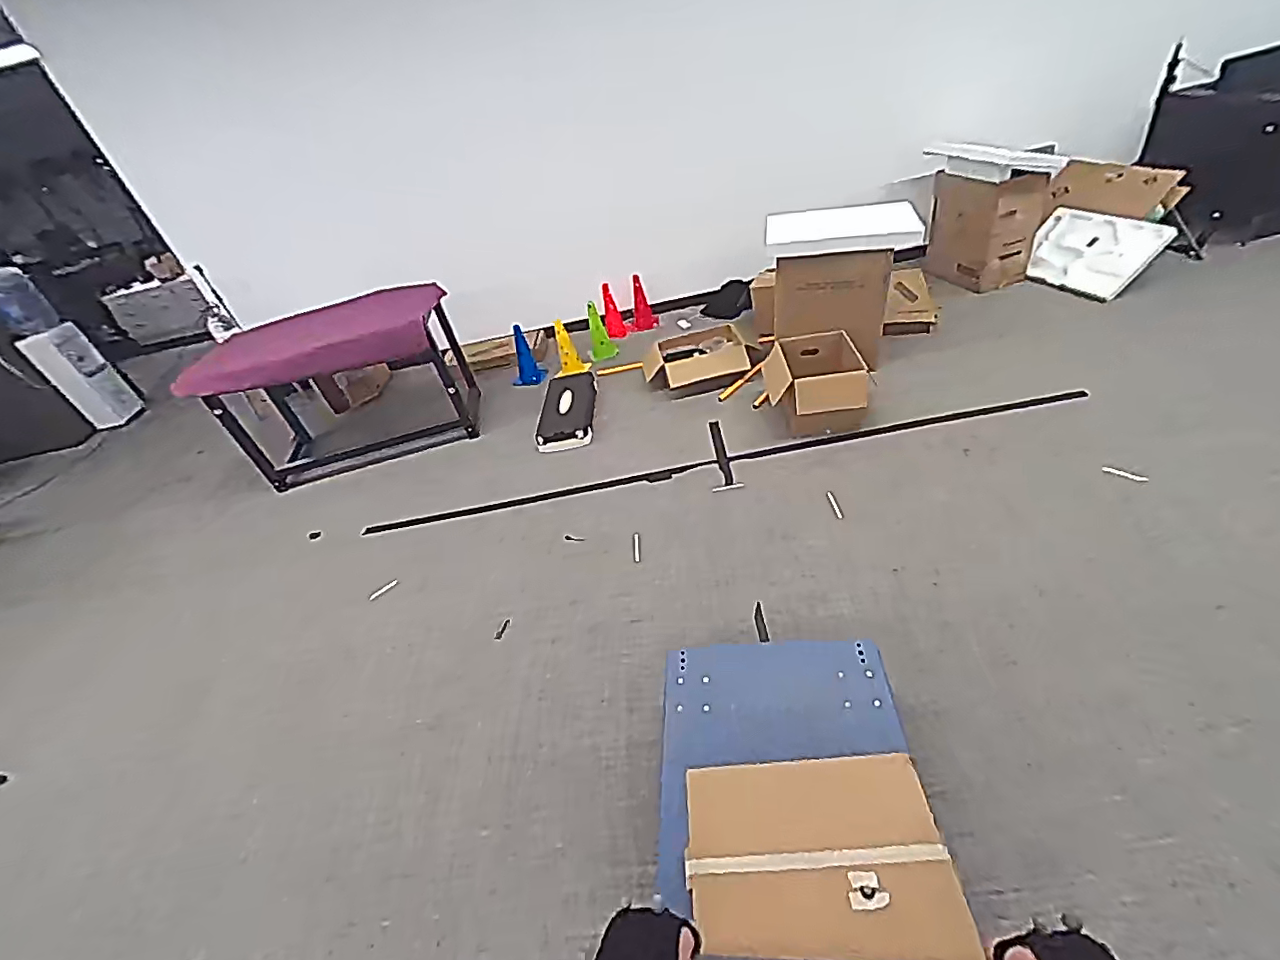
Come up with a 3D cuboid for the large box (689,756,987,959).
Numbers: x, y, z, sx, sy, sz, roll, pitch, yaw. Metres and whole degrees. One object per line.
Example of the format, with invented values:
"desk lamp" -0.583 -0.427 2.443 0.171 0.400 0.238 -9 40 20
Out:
"large box" 0.311 0.734 0.963 0.408 0.320 0.320 -8 39 6
